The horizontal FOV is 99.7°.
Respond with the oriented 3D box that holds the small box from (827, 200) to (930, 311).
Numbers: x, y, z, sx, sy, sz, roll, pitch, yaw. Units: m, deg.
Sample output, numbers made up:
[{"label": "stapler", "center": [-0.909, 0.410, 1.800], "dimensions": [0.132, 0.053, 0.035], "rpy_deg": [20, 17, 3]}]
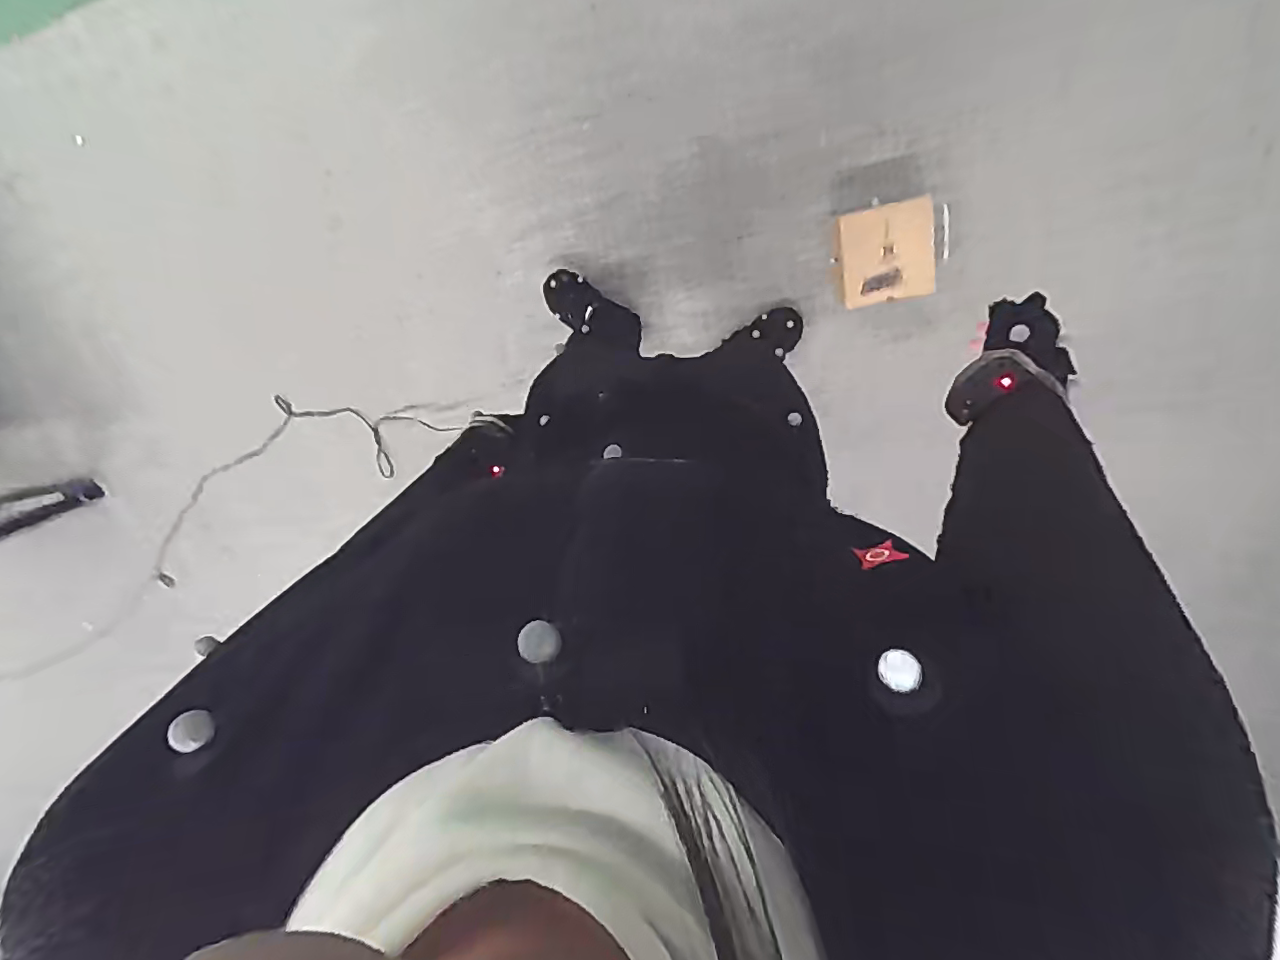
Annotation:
[{"label": "small box", "center": [0.486, -0.459, 1.114], "dimensions": [0.168, 0.176, 0.179], "rpy_deg": [-7, 110, 14]}]
